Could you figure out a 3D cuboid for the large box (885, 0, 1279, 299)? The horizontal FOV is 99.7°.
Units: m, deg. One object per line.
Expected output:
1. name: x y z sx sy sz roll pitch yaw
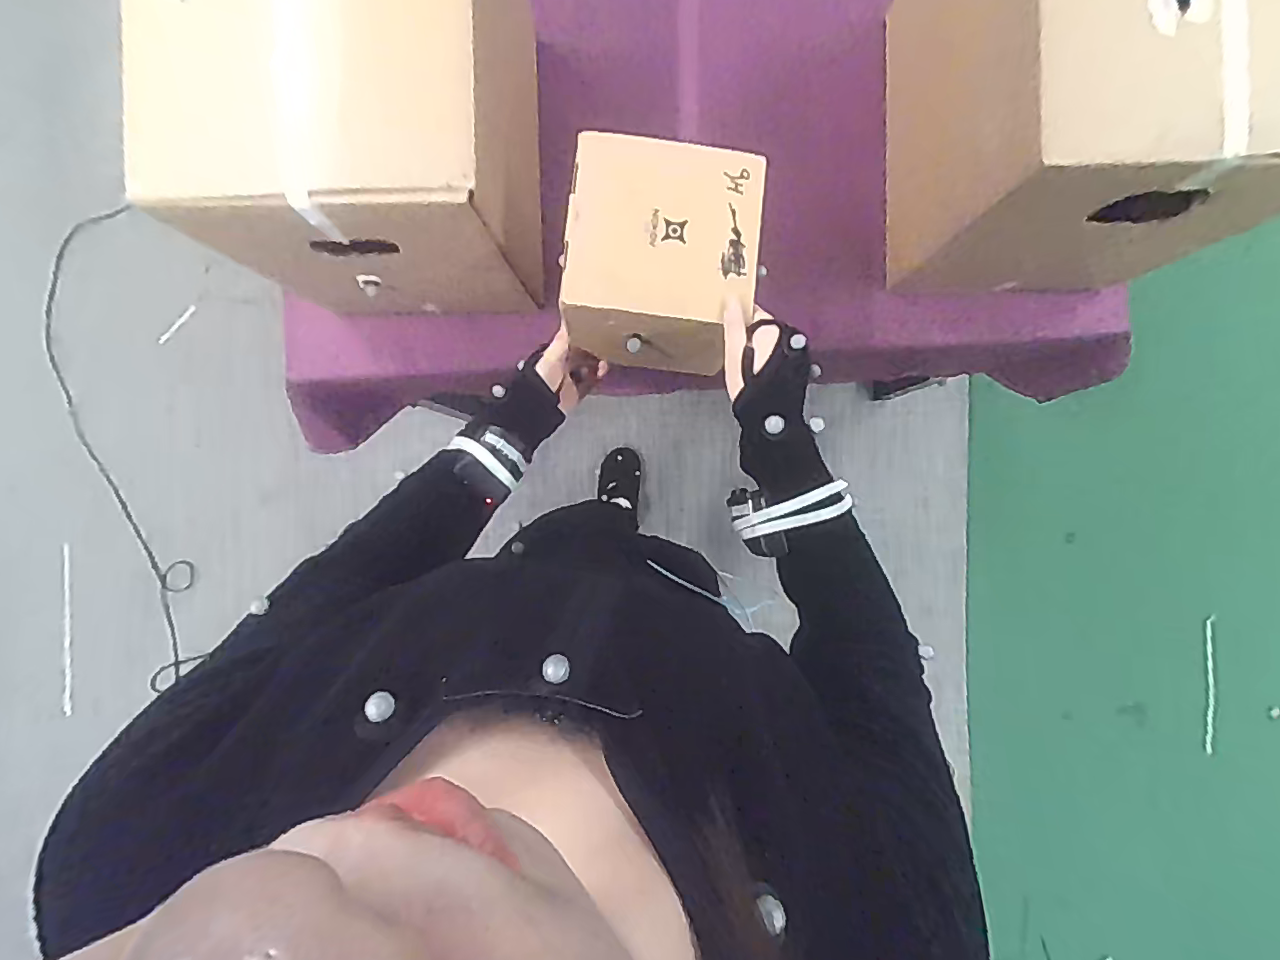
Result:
1. large box: 0.507 -0.462 0.634 0.320 0.320 0.408 0 90 0
